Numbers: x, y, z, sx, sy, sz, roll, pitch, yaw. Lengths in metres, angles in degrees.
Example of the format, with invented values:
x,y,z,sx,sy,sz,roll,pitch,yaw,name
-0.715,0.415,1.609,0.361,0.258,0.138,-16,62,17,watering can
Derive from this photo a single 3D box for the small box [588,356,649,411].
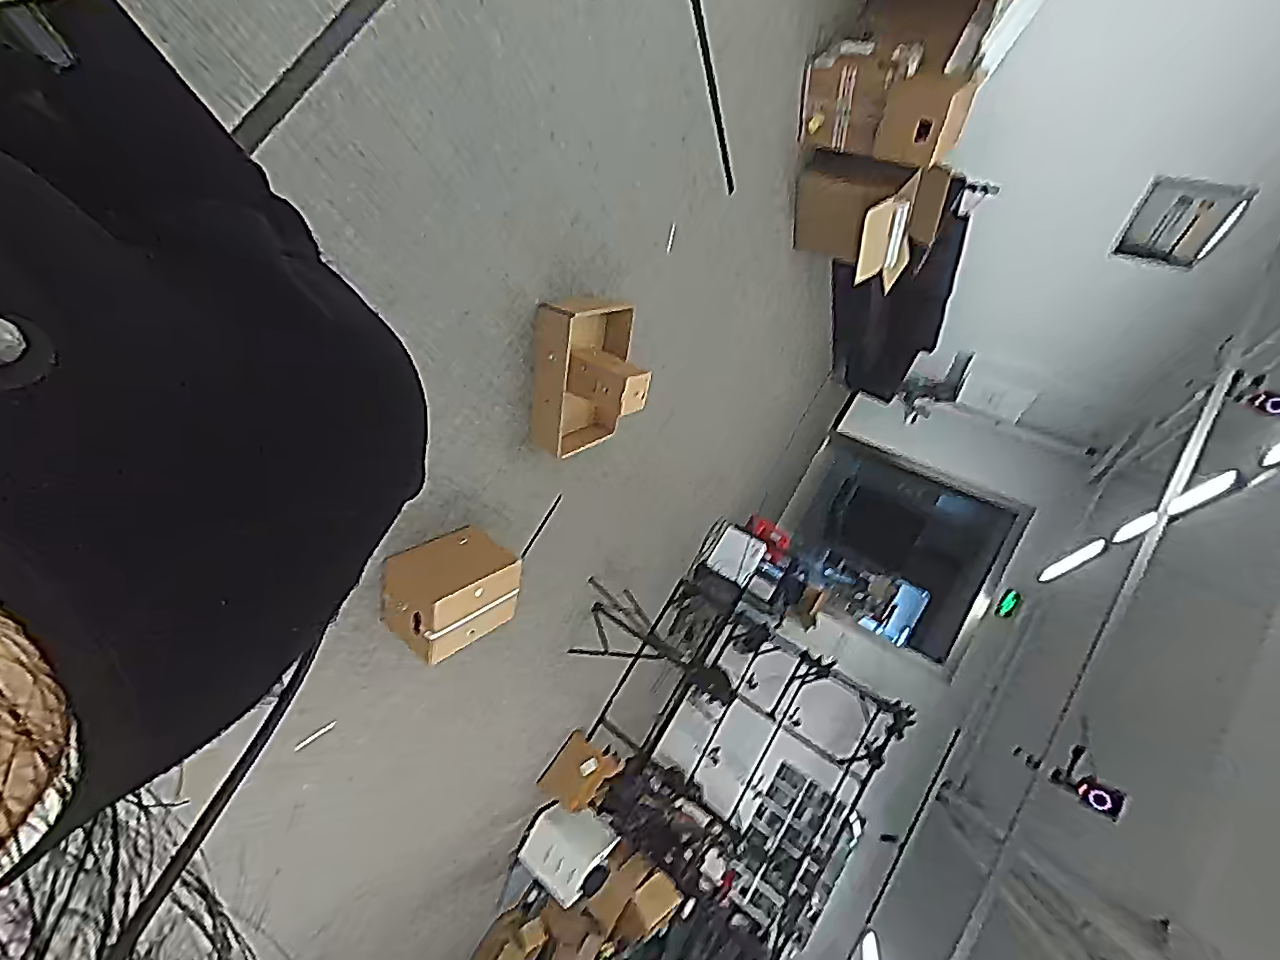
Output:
x,y,z,sx,sy,sz,roll,pitch,yaw,name
-0.091,-0.401,2.221,0.179,0.176,0.168,-26,137,-51,small box
